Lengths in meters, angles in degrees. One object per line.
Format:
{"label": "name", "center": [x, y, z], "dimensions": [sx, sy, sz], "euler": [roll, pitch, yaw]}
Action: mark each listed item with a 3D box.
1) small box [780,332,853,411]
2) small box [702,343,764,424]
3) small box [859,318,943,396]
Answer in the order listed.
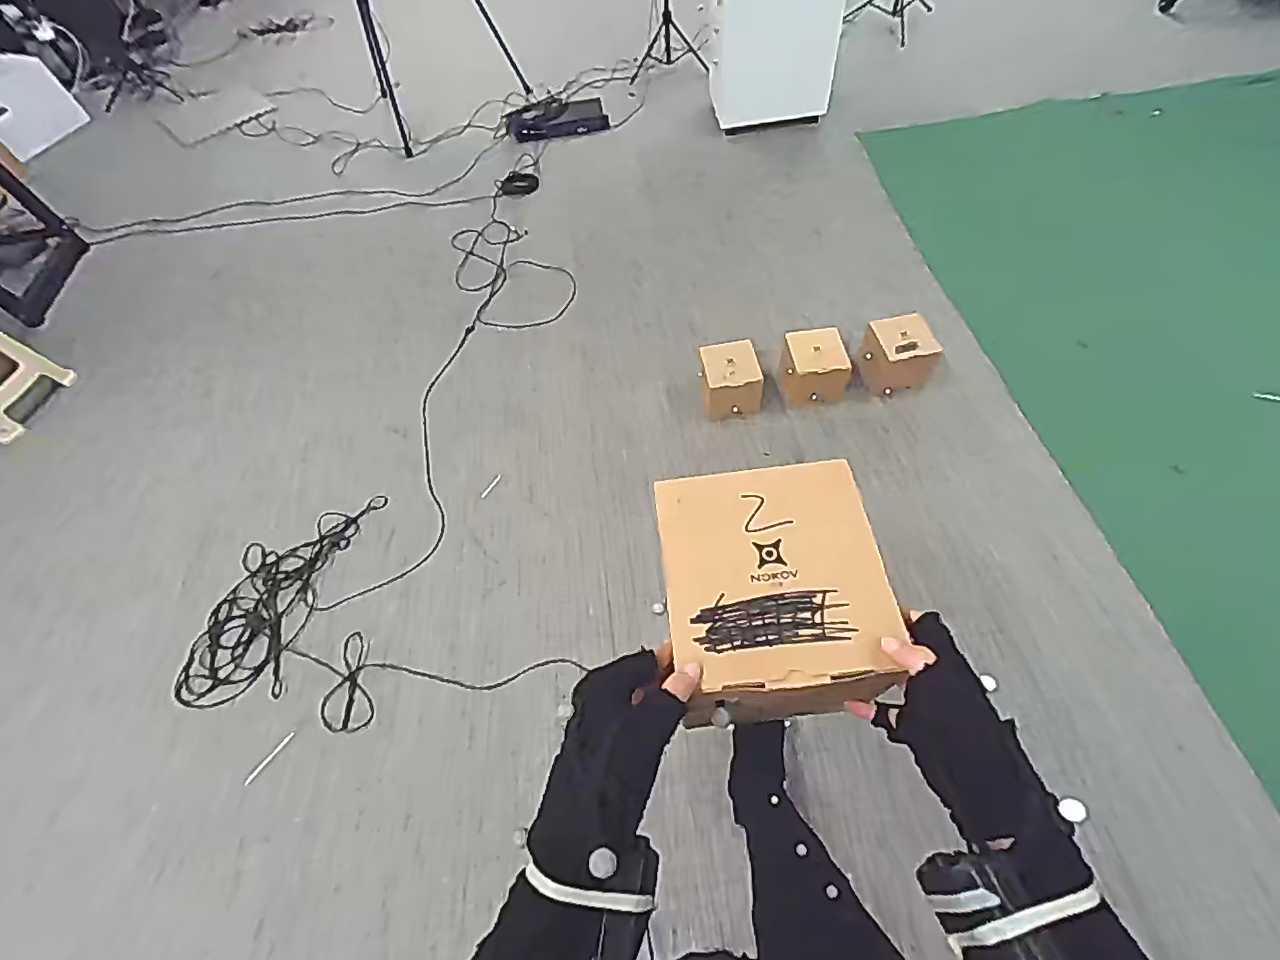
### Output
{"label": "small box", "center": [0.556, -0.345, 1.730], "dimensions": [0.168, 0.176, 0.179], "euler": [-7, 59, 2]}
{"label": "small box", "center": [0.290, -0.307, 1.732], "dimensions": [0.168, 0.176, 0.179], "euler": [-9, 58, 2]}
{"label": "small box", "center": [0.822, -0.384, 1.724], "dimensions": [0.168, 0.176, 0.179], "euler": [-10, 58, 0]}
